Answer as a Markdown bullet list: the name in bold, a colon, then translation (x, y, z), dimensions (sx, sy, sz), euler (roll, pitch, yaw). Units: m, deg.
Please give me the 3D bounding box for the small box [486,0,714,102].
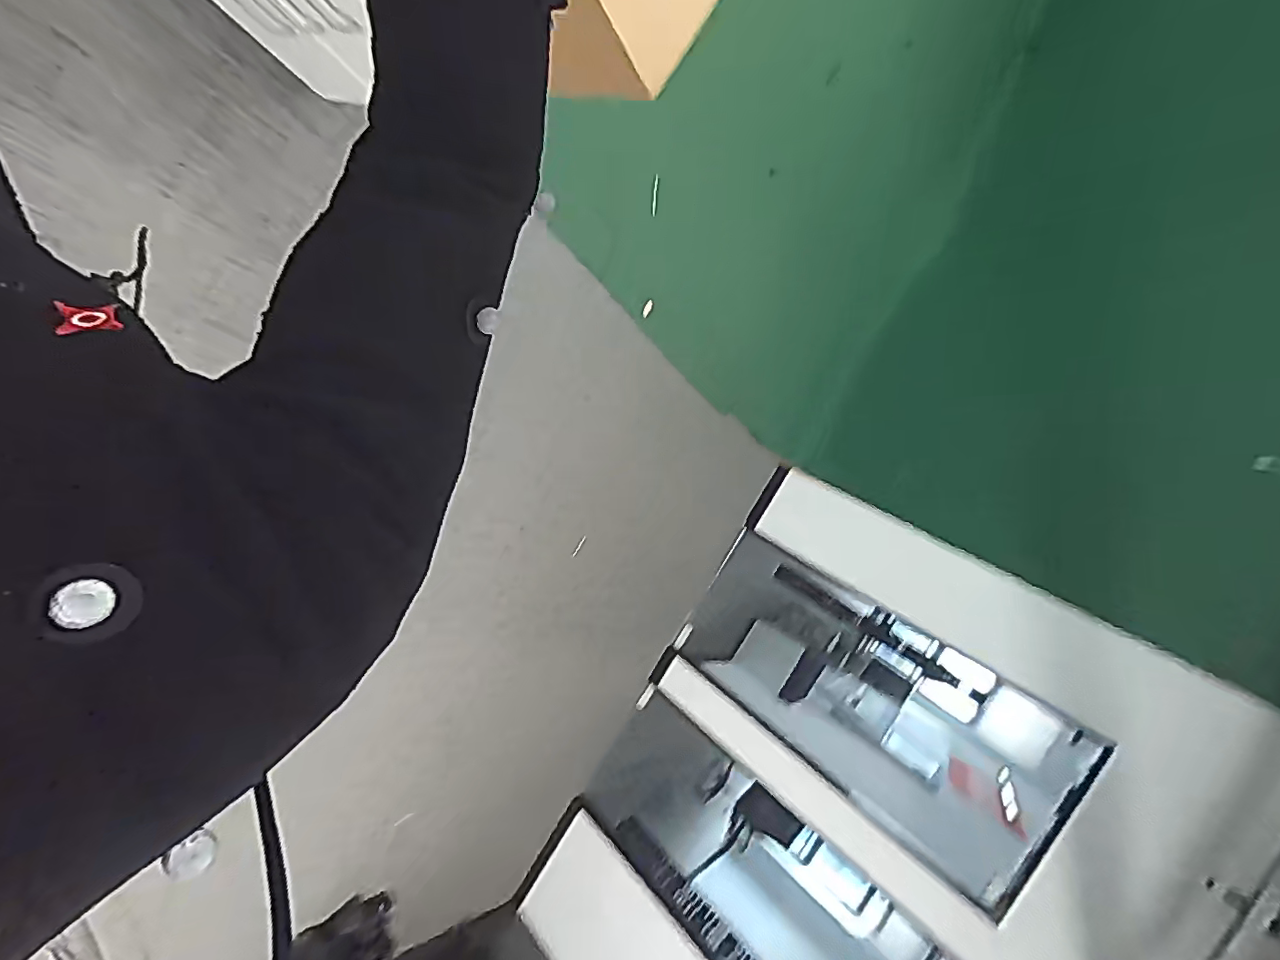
- **small box**: translation (-0.045, -0.503, 0.516), dimensions (0.179, 0.176, 0.168), euler (-58, 146, -1)
